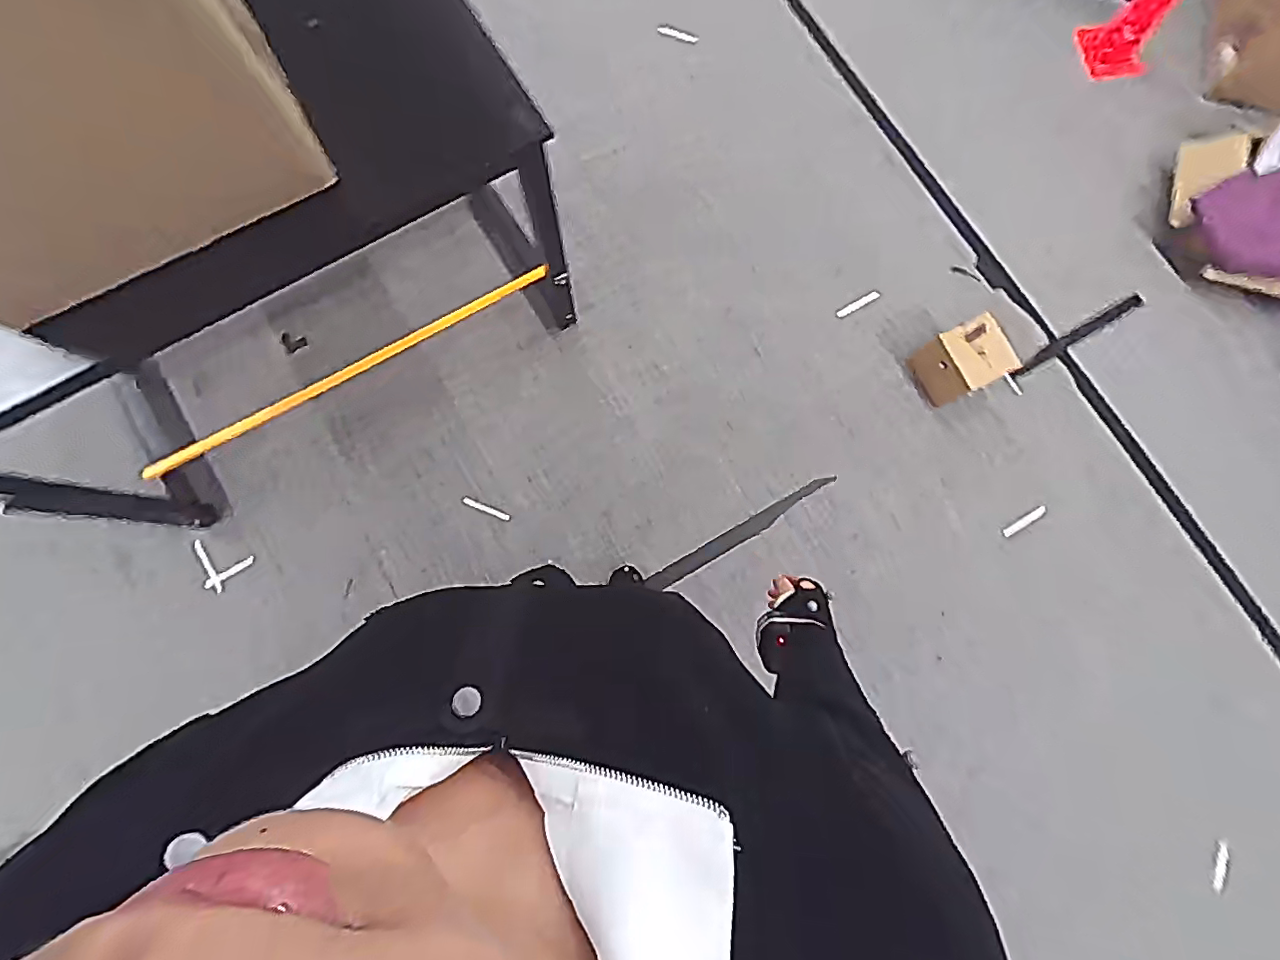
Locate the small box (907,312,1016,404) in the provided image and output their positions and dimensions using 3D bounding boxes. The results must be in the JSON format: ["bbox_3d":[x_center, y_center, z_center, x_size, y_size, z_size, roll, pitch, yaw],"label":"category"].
[{"bbox_3d":[0.912,-0.343,1.554,0.168,0.176,0.179,-27,84,-6],"label":"small box"}]
